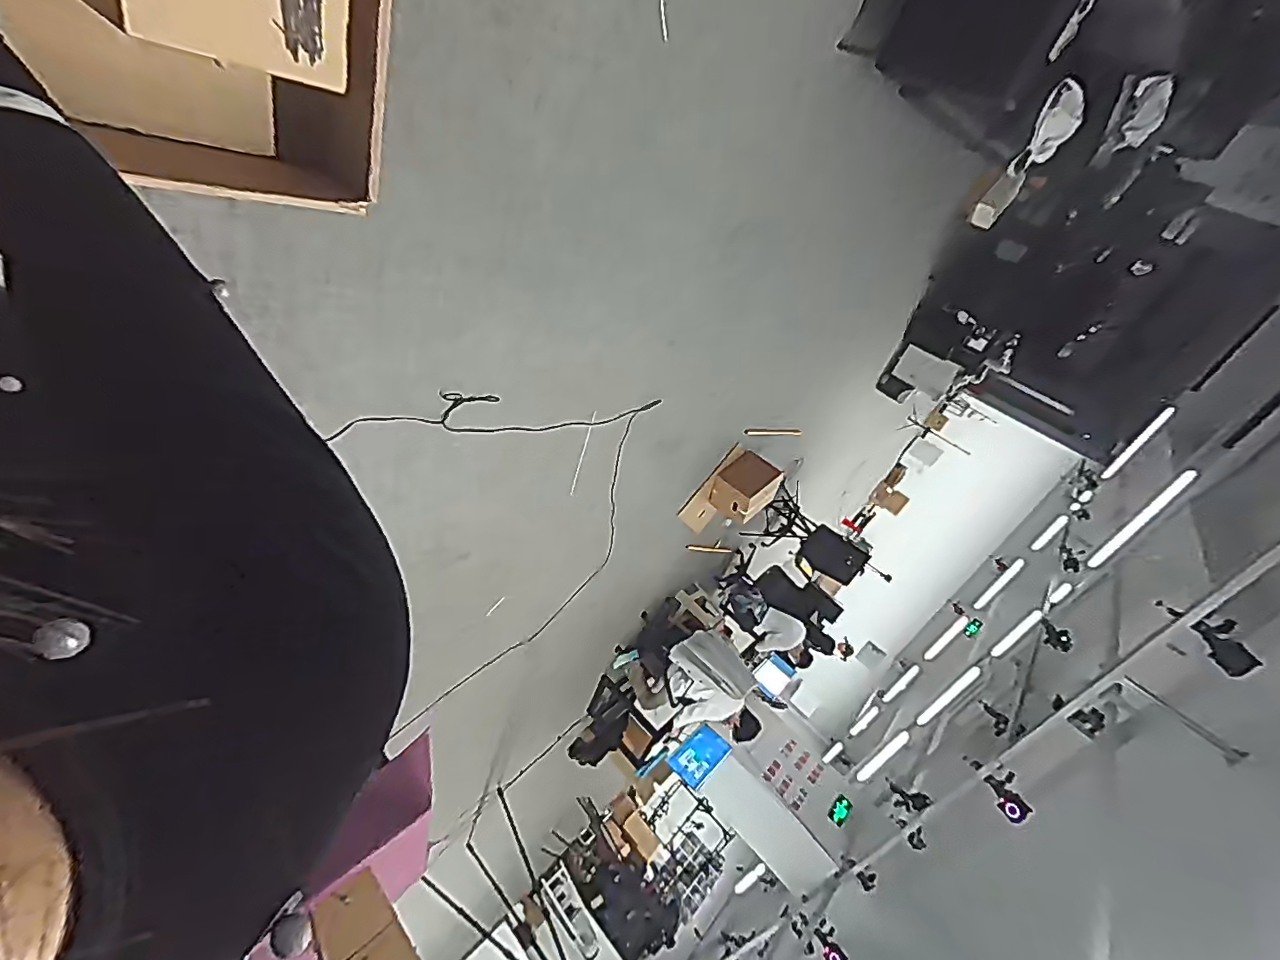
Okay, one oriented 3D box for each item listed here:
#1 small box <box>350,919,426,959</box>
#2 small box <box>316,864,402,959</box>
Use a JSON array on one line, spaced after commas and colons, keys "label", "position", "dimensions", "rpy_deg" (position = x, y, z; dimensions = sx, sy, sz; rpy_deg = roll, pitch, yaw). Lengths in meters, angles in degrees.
[{"label": "small box", "position": [-0.699, 1.363, 1.481], "dimensions": [0.168, 0.176, 0.179], "rpy_deg": [-20, 142, -46]}, {"label": "small box", "position": [-0.809, 1.264, 1.550], "dimensions": [0.179, 0.176, 0.168], "rpy_deg": [-21, 142, -44]}]
